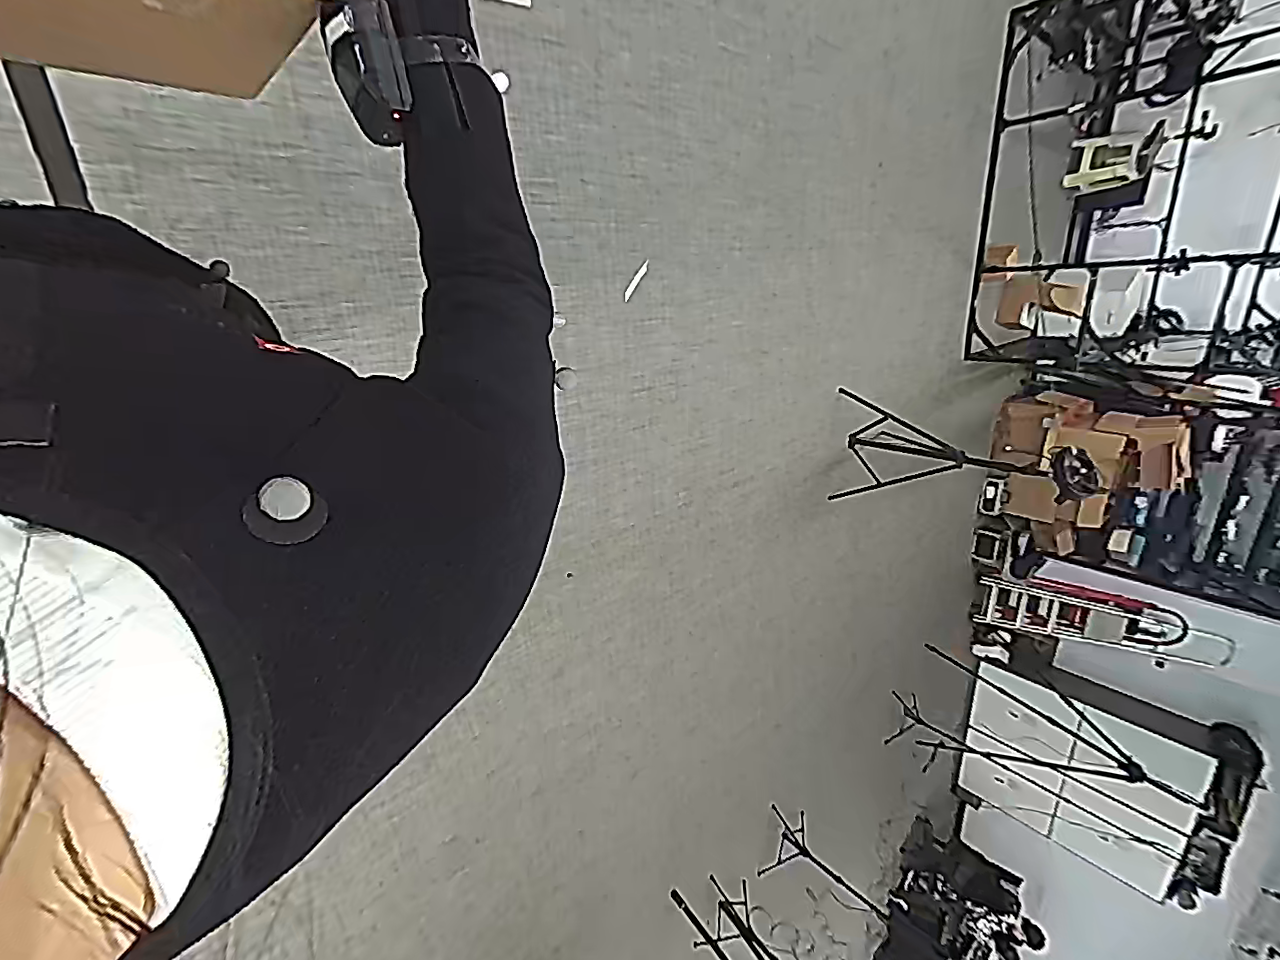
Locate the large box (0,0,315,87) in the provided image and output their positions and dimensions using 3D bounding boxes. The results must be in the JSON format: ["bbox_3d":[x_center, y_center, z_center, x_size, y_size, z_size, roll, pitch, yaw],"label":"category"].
[{"bbox_3d":[-0.427,-0.424,0.244,0.408,0.320,0.320,-18,120,-38],"label":"large box"}]
